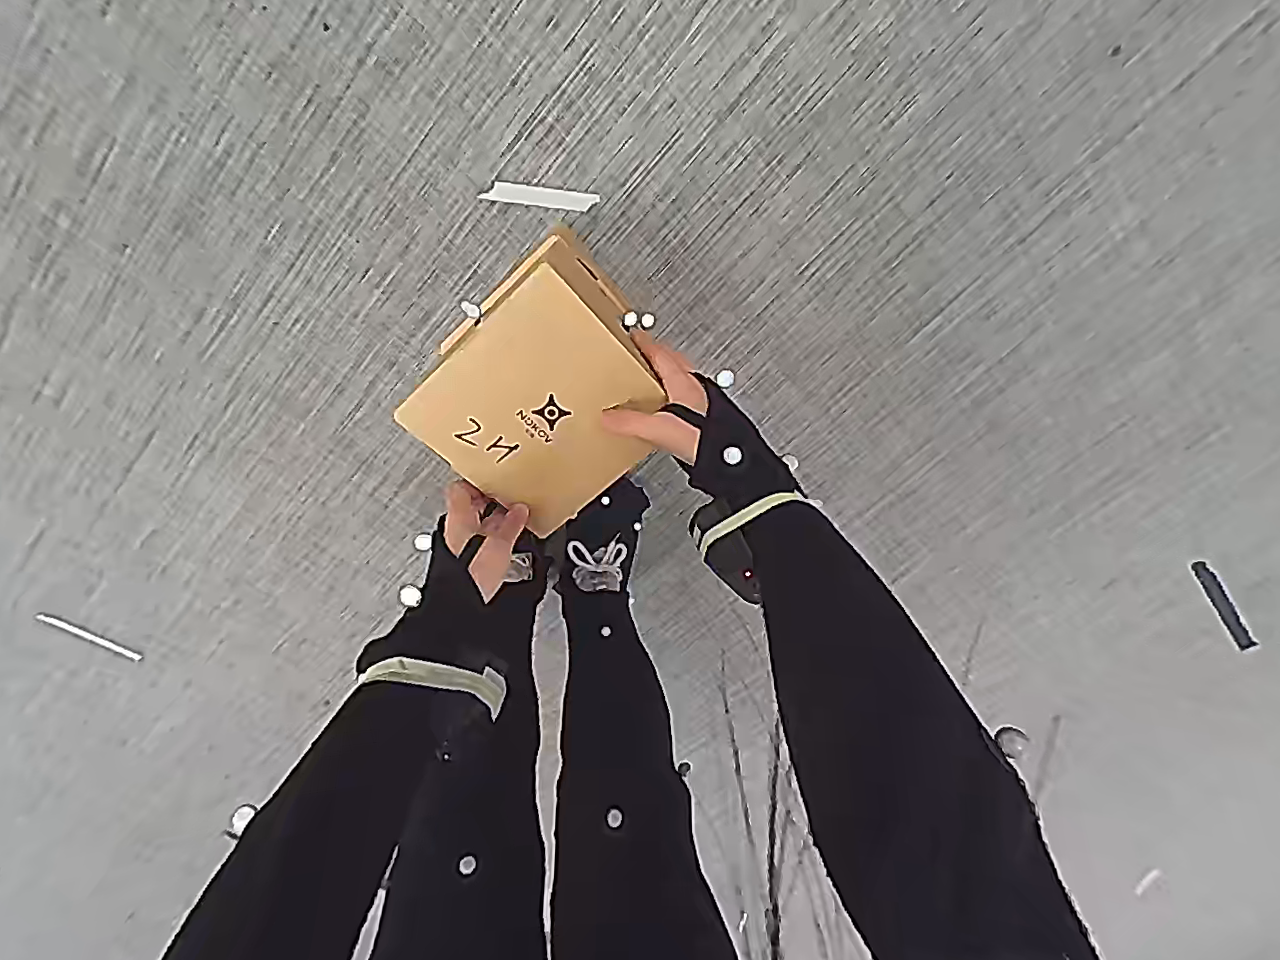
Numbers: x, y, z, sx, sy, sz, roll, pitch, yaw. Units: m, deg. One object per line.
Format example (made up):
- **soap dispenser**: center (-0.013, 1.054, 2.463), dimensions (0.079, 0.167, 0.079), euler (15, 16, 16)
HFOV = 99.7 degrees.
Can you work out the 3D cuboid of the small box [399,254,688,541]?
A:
- **small box**: center (-0.082, -0.085, 0.505), dimensions (0.179, 0.176, 0.168), euler (-39, 114, 15)
